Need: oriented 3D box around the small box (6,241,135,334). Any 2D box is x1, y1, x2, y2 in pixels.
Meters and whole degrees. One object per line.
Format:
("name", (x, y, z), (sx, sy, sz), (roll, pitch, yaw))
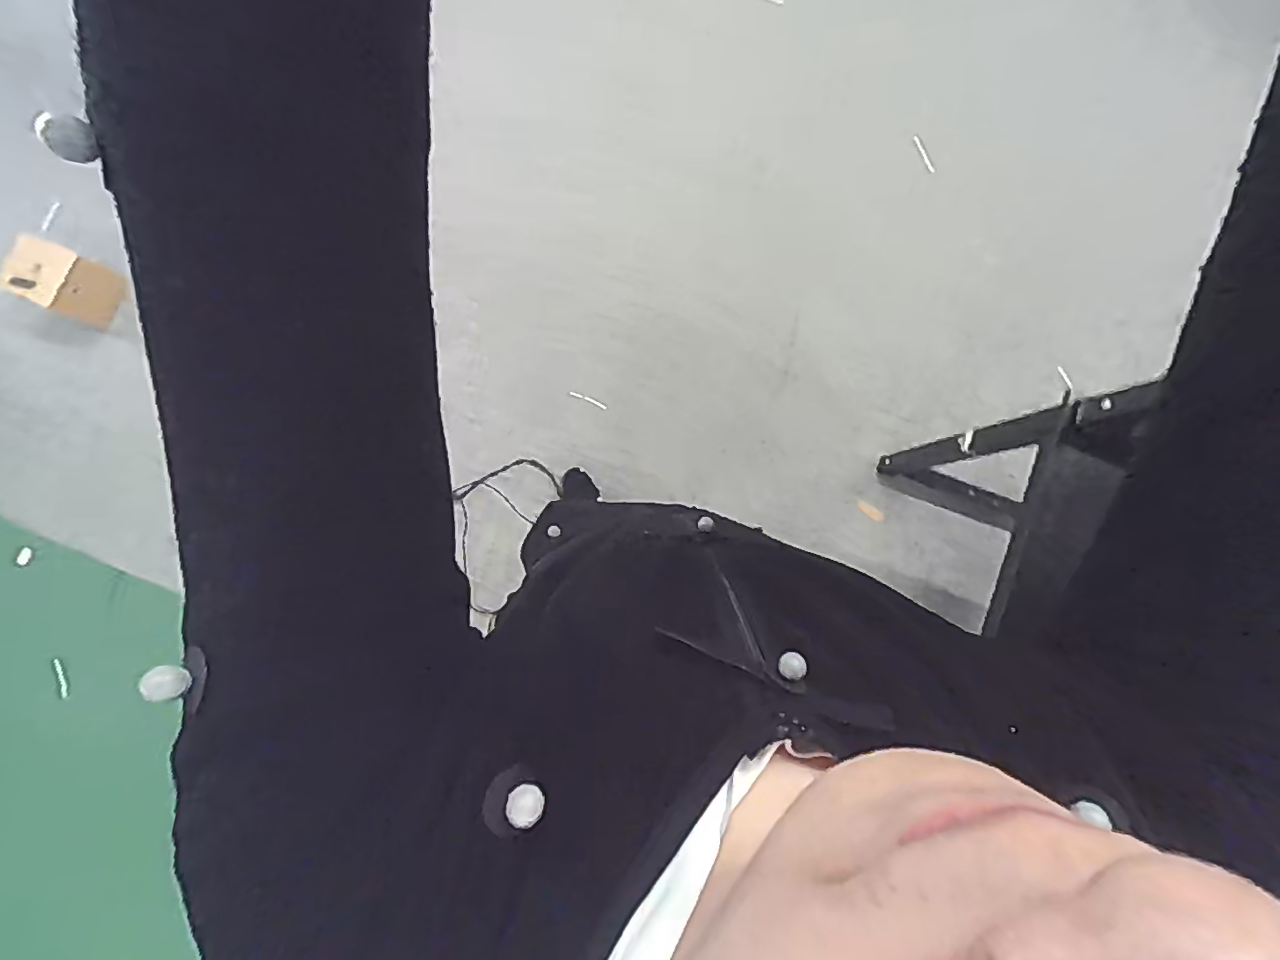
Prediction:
("small box", (-1.650, -0.553, 1.580), (0.168, 0.176, 0.179), (22, 83, 0))
